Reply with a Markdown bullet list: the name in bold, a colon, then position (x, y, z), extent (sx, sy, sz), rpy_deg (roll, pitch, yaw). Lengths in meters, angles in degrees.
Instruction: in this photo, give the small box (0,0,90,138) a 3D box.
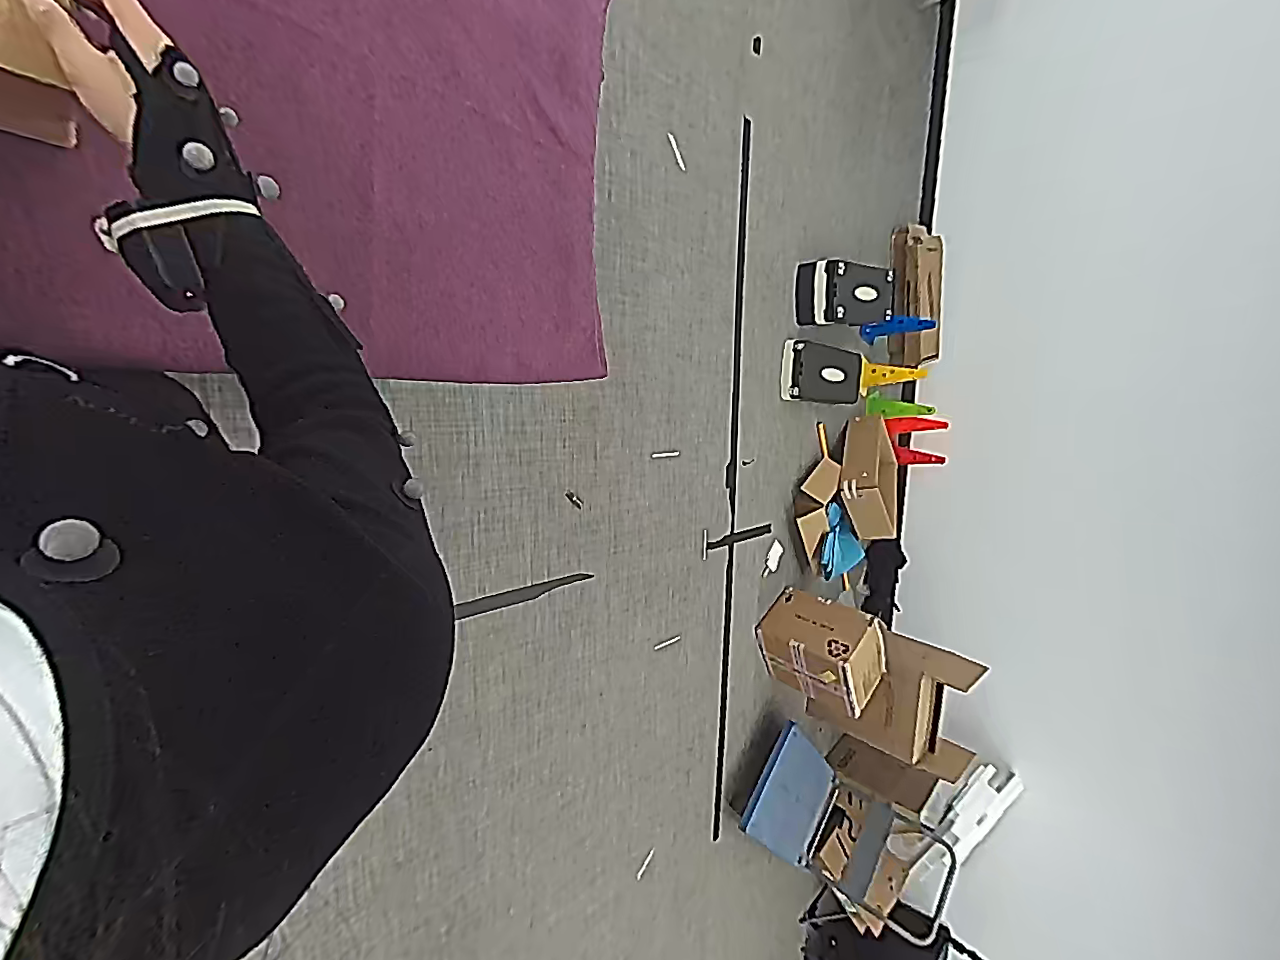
- **small box**: position (-0.455, -0.347, 0.326), extent (0.168, 0.176, 0.179), rpy_deg (-2, 103, -47)
